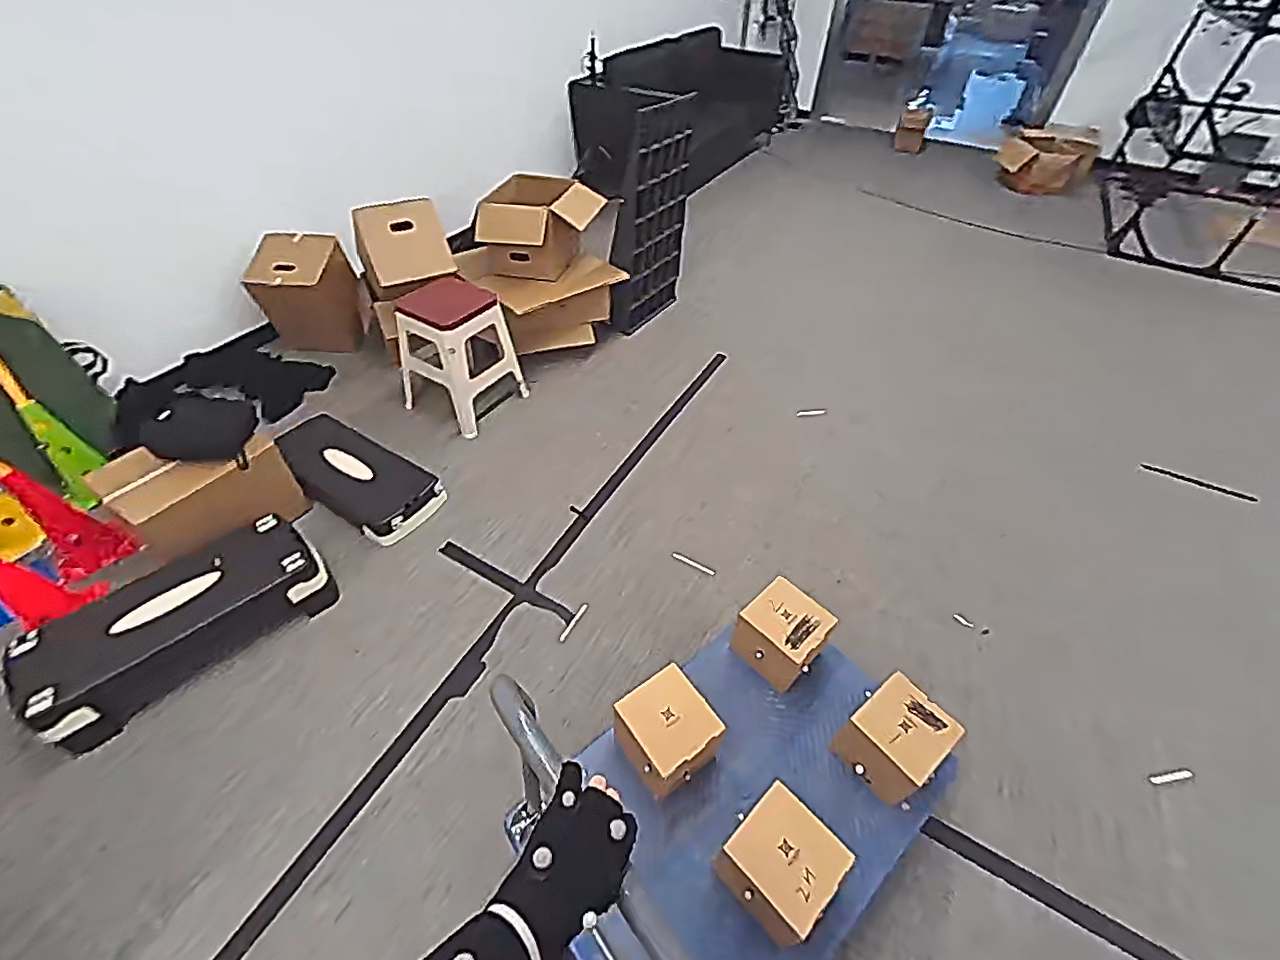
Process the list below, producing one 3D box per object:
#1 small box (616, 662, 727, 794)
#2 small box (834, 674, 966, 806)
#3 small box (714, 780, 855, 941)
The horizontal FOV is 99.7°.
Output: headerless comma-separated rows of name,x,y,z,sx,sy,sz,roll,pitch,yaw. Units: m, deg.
small box,0.059,0.538,1.170,0.168,0.176,0.179,-26,54,-26
small box,0.553,0.564,1.175,0.179,0.176,0.168,-28,54,-26
small box,0.259,0.714,1.012,0.168,0.176,0.179,-32,55,-29
